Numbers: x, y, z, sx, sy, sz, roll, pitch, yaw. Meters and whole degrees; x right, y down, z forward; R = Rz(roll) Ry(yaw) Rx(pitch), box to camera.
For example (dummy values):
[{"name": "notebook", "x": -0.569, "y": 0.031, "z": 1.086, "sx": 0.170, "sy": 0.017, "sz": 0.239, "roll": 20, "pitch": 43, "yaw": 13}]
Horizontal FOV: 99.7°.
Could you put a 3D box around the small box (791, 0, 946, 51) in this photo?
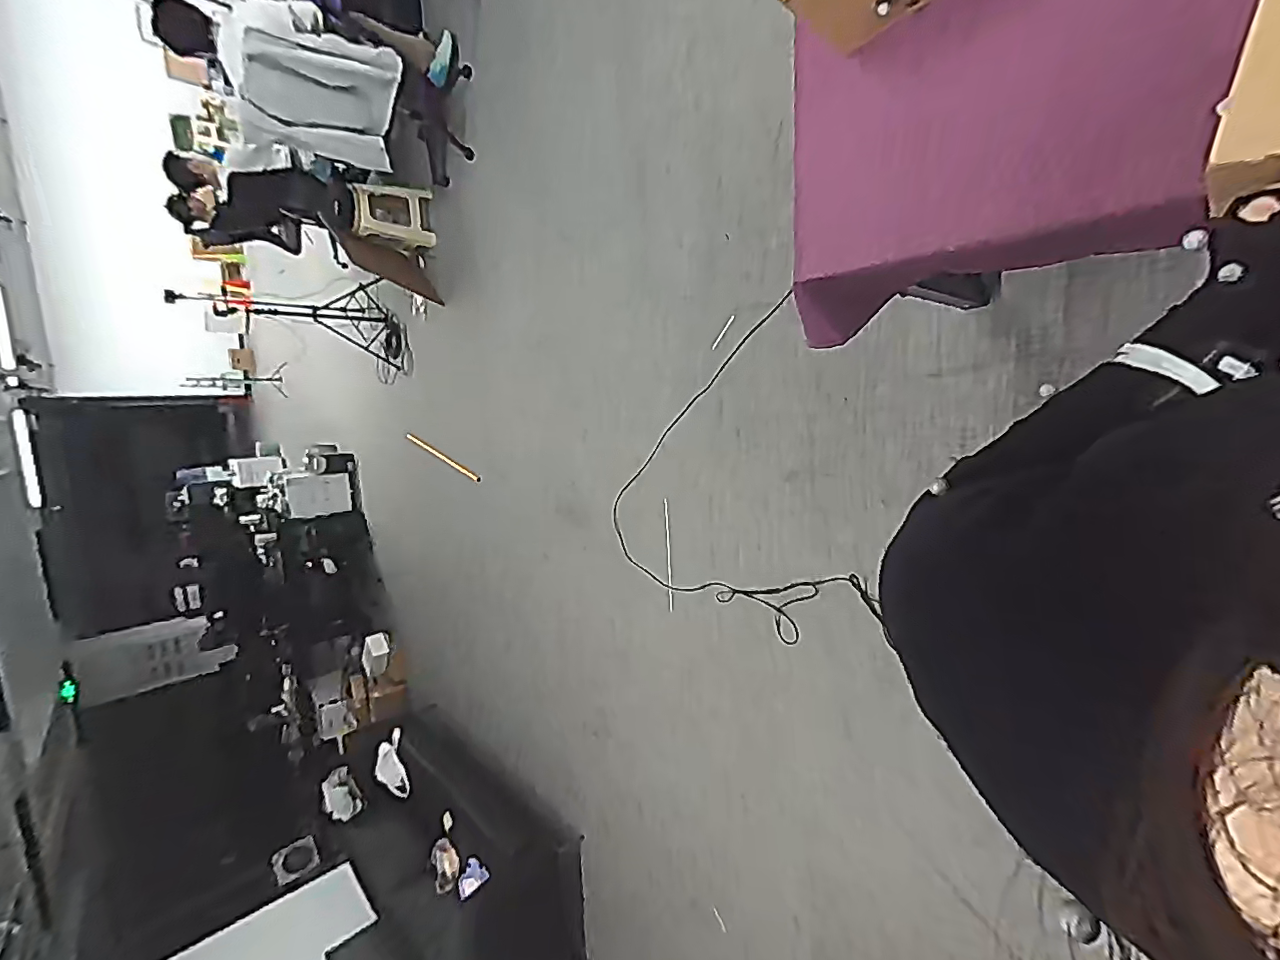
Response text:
[{"name": "small box", "x": 0.289, "y": -0.686, "z": 0.659, "sx": 0.168, "sy": 0.176, "sz": 0.179, "roll": 0, "pitch": 97, "yaw": 48}]

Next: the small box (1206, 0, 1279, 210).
[{"name": "small box", "x": 0.573, "y": -0.314, "z": 0.404, "sx": 0.168, "sy": 0.176, "sz": 0.179, "roll": 20, "pitch": 111, "yaw": 45}]
